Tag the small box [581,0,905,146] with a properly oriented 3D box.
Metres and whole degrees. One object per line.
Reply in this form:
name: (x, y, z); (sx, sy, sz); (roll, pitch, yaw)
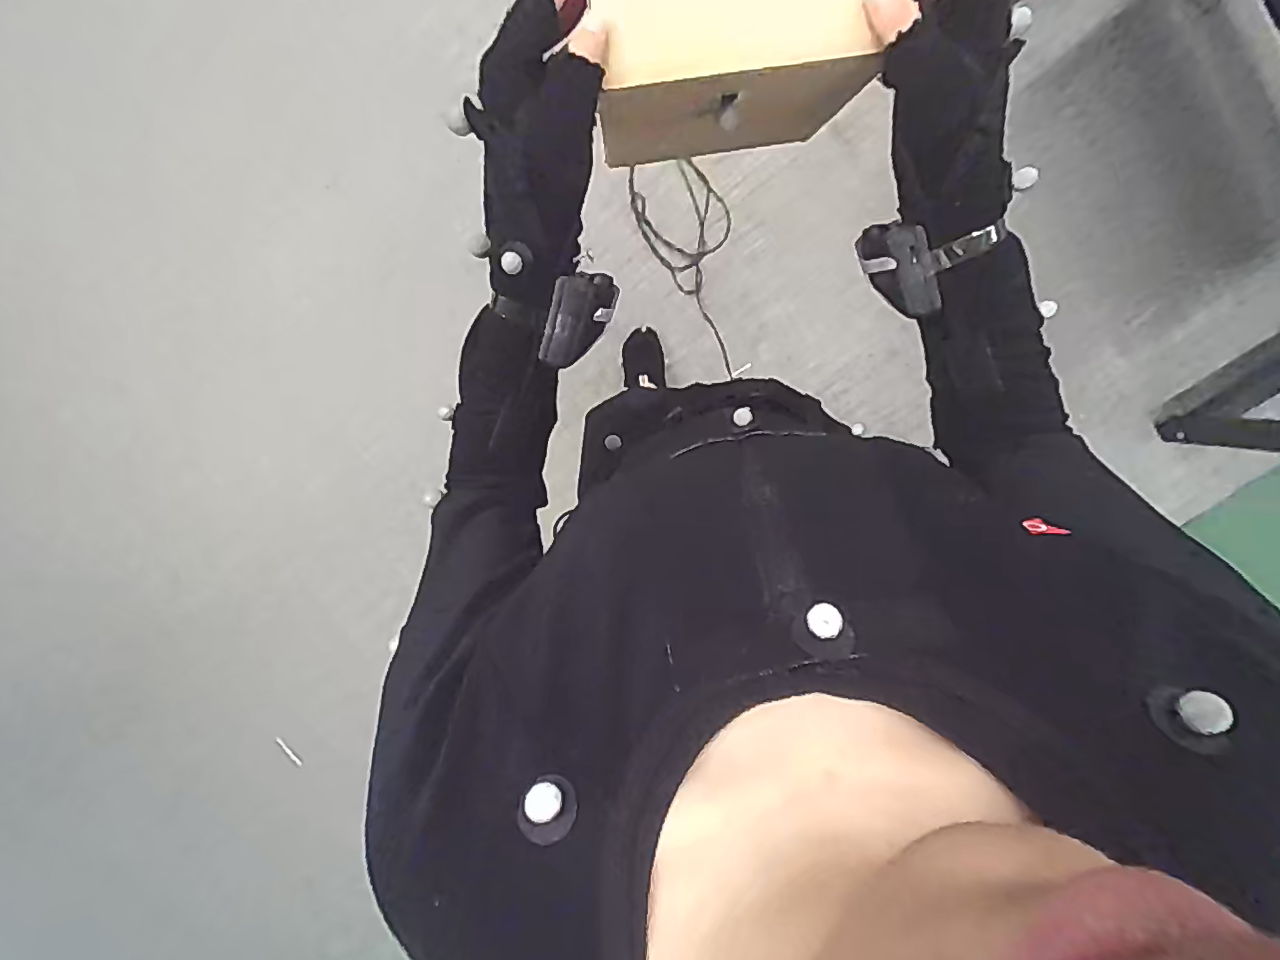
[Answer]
small box: (0.049, -0.335, 0.347); (0.179, 0.176, 0.168); (-6, 108, 2)
